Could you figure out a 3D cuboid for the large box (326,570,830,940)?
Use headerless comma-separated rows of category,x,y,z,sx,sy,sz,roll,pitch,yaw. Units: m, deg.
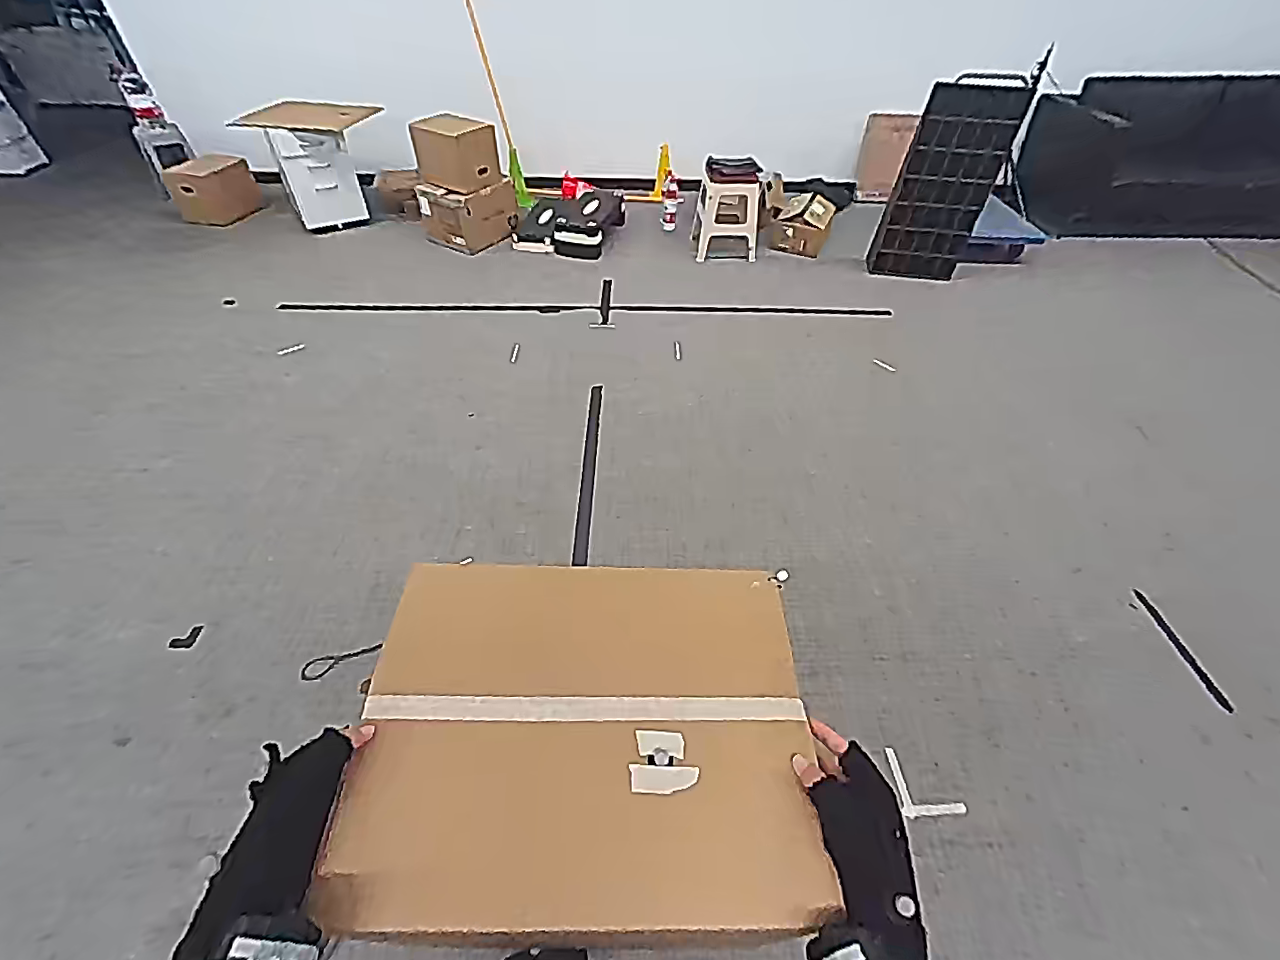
large box,-0.056,0.321,0.628,0.408,0.320,0.320,2,48,-3
